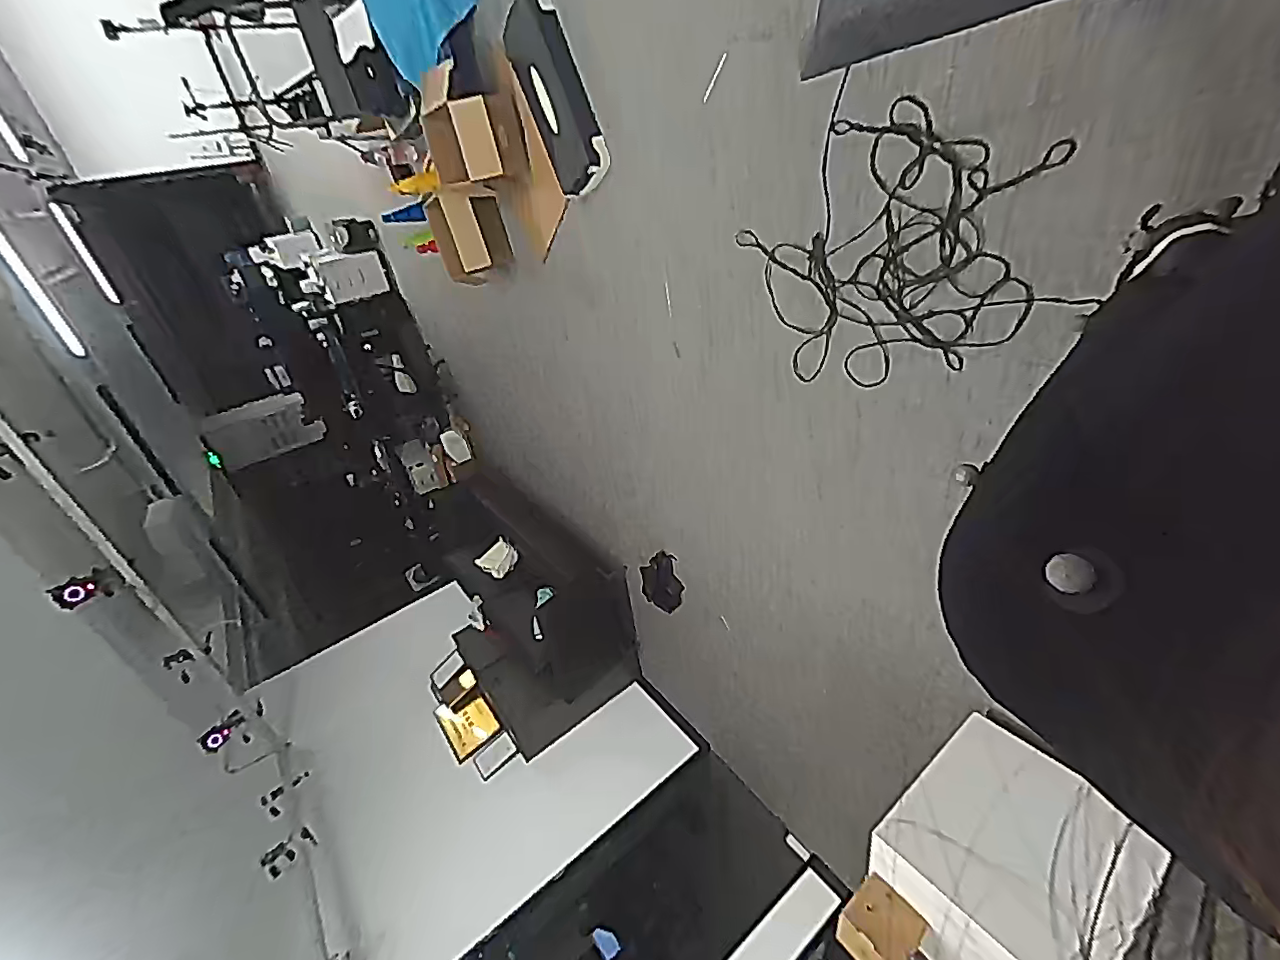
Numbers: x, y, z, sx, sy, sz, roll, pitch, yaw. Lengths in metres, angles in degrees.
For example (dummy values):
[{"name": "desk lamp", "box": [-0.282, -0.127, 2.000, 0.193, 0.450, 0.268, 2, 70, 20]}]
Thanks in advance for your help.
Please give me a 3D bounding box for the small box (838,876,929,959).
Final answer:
[{"name": "small box", "box": [0.687, 1.278, 1.527, 0.168, 0.176, 0.179, 32, 140, 46]}]
